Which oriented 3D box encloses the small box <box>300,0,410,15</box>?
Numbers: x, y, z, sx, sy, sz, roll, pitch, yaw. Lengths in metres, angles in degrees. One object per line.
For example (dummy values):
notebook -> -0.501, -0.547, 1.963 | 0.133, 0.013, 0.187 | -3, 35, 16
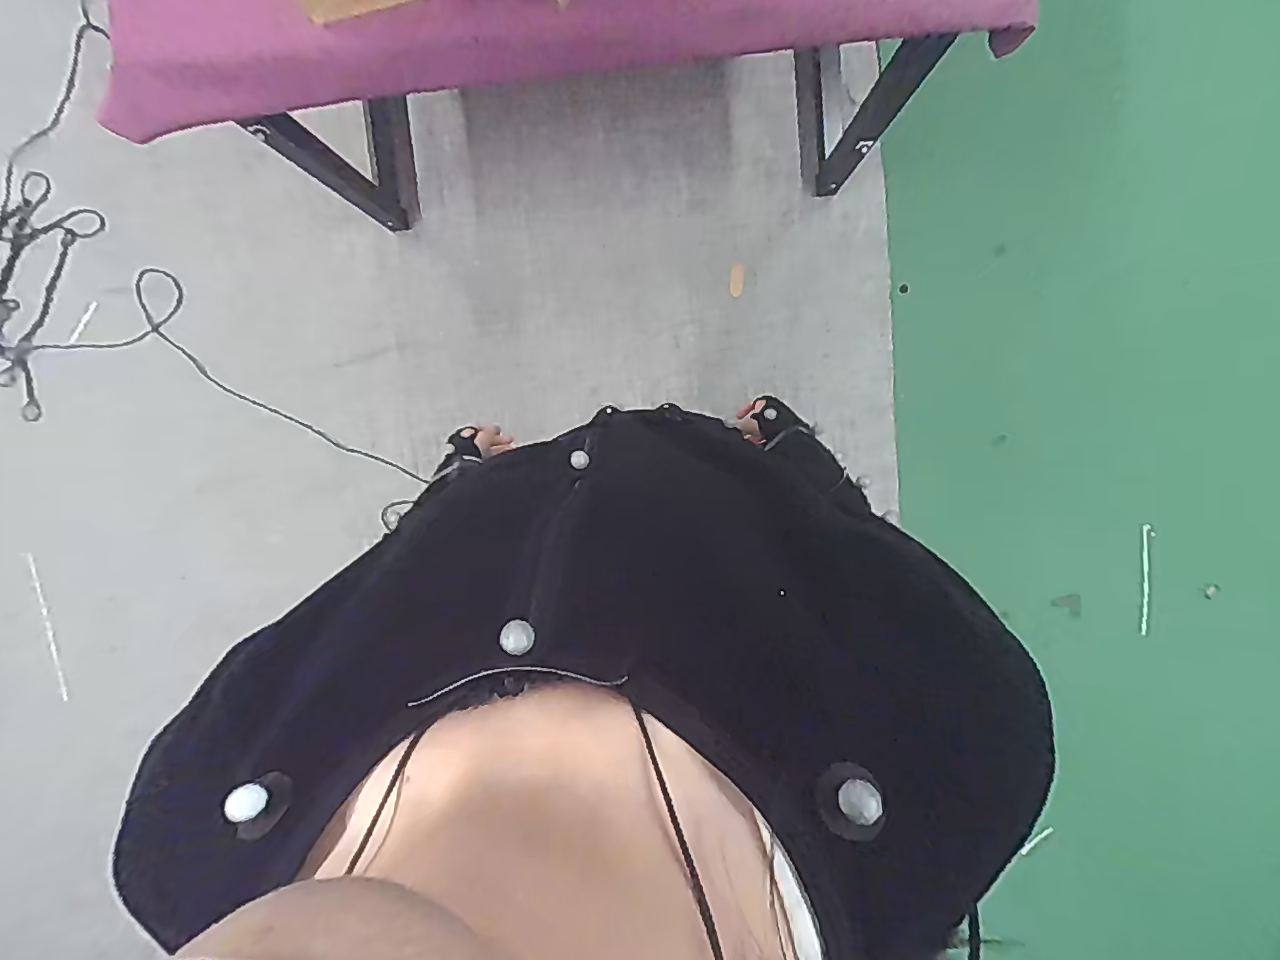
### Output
small box -> -0.370, -0.692, 0.627 | 0.168, 0.176, 0.179 | -12, 94, 3
